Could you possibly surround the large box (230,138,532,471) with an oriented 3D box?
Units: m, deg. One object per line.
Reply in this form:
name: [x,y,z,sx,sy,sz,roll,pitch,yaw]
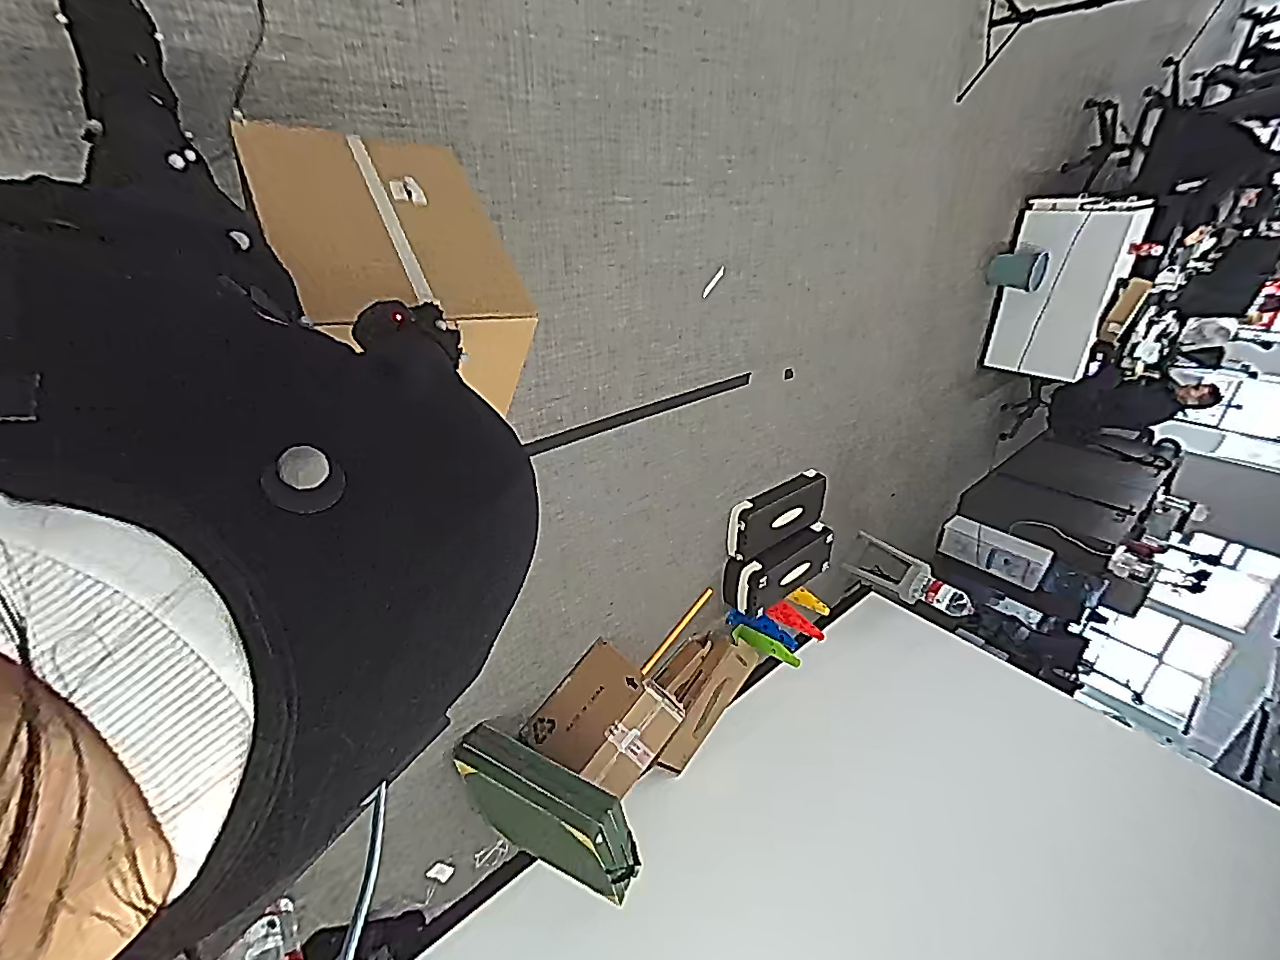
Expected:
large box: [-0.430,-0.281,0.900,0.320,0.408,0.320,-14,153,-36]
